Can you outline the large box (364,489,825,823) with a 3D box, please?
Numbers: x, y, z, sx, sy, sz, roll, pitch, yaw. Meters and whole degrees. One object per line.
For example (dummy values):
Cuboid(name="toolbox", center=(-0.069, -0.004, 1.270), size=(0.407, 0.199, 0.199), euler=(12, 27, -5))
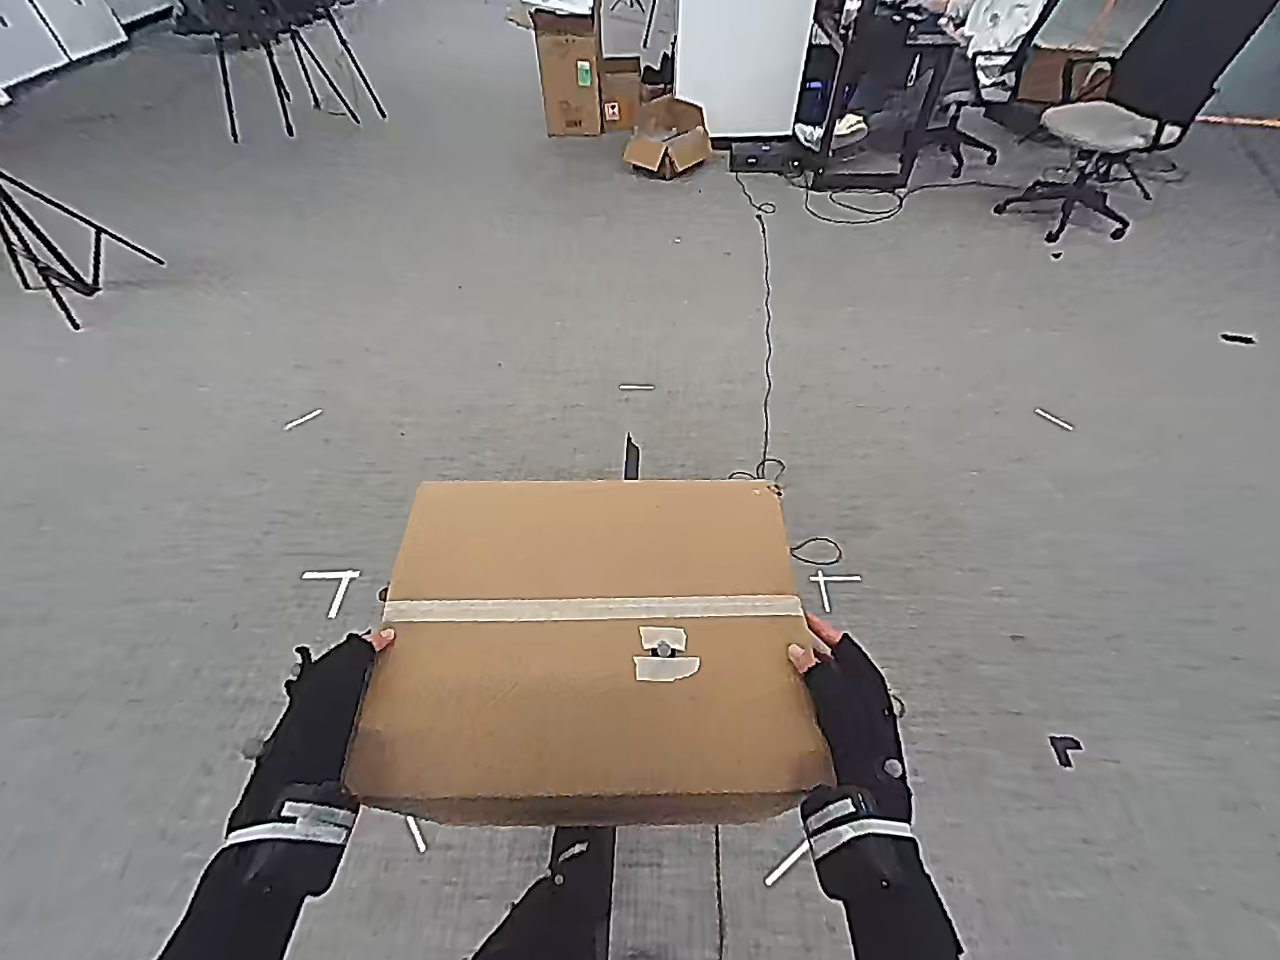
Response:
Cuboid(name="large box", center=(-0.044, 0.223, 0.666), size=(0.408, 0.320, 0.320), euler=(0, 54, -1))
